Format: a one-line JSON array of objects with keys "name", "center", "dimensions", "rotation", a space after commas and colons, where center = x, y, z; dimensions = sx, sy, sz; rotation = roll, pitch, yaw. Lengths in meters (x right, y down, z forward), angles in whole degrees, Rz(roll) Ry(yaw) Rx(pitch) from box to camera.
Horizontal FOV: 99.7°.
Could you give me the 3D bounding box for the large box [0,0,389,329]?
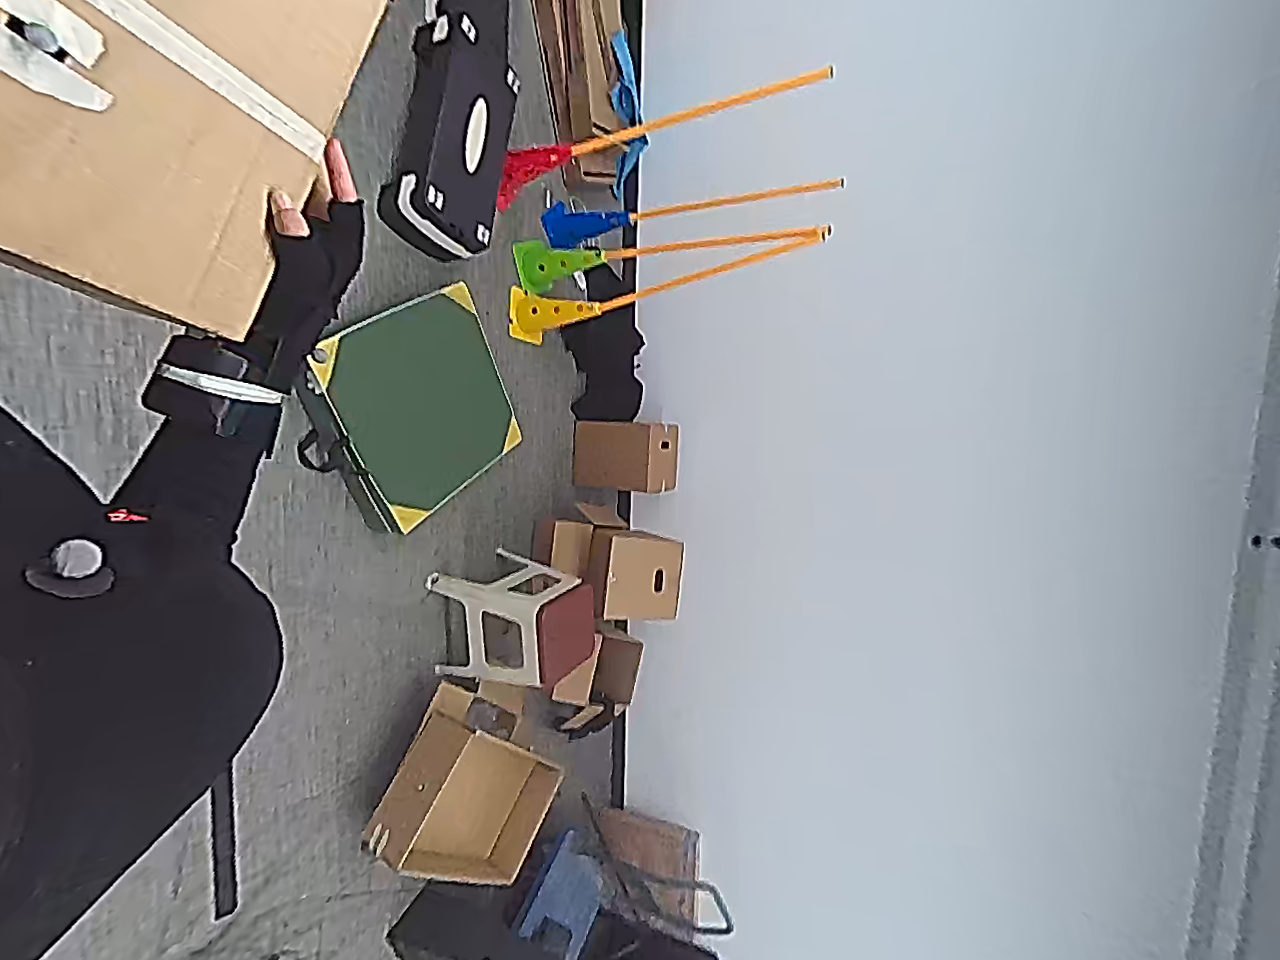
[{"name": "large box", "center": [-0.468, -0.339, 0.345], "dimensions": [0.408, 0.320, 0.320], "rotation": [25, 85, -55]}]
